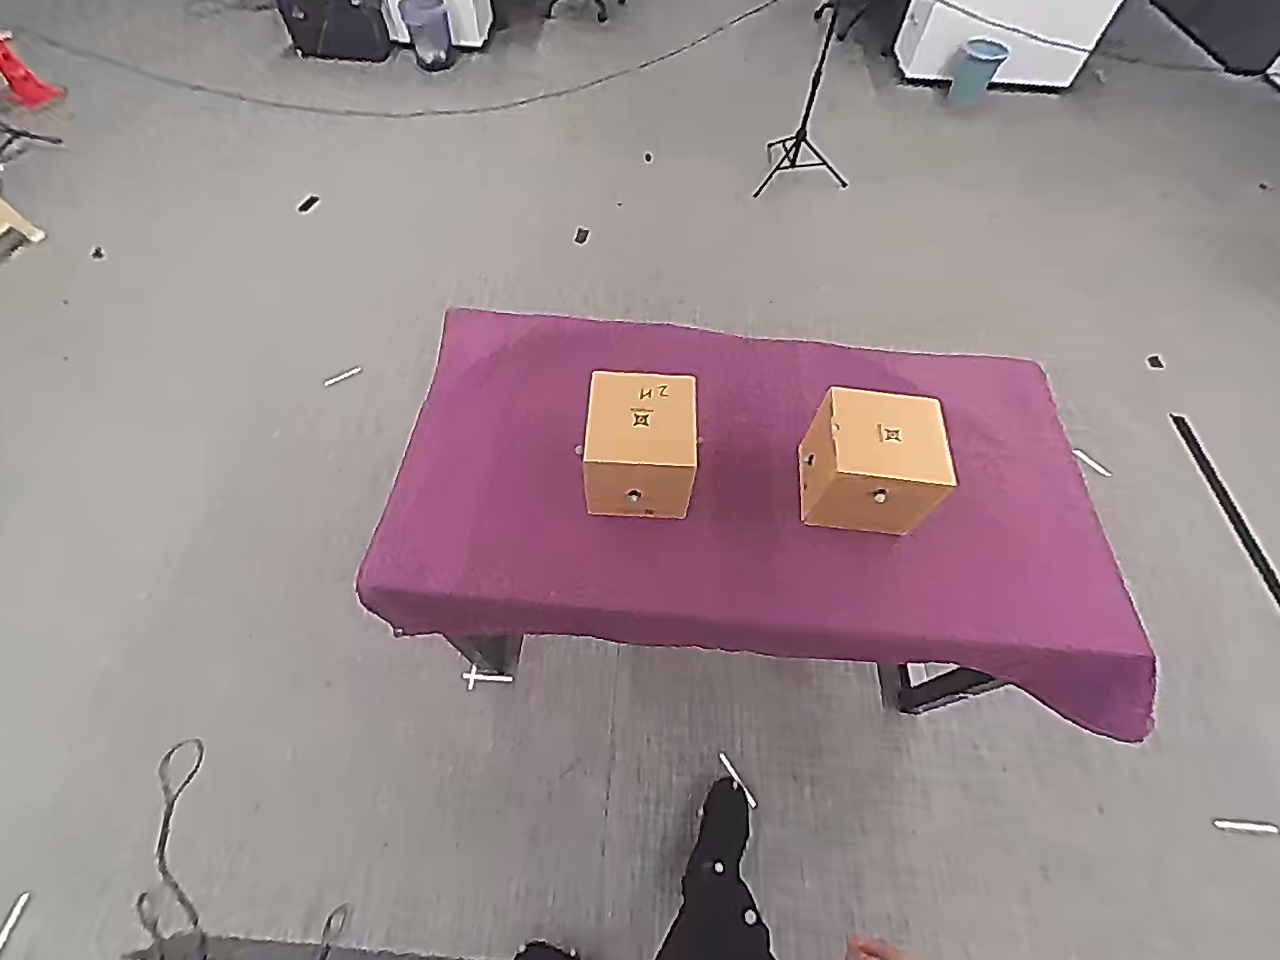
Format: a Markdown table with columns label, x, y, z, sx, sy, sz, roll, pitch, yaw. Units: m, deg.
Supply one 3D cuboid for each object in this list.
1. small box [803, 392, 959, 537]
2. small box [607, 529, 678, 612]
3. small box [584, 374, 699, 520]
| label | x | y | z | sx | sy | sz | roll | pitch | yaw |
| --- | --- | --- | --- | --- | --- | --- | --- | --- | --- |
| small box | 0.378 | -0.018 | 0.882 | 0.179 | 0.176 | 0.168 | 7 | 59 | 3 |
| small box | 0.005 | 0.242 | 1.426 | 0.179 | 0.176 | 0.168 | 3 | 59 | -2 |
| small box | 0.004 | -0.048 | 0.882 | 0.168 | 0.176 | 0.179 | 4 | 58 | -1 |
